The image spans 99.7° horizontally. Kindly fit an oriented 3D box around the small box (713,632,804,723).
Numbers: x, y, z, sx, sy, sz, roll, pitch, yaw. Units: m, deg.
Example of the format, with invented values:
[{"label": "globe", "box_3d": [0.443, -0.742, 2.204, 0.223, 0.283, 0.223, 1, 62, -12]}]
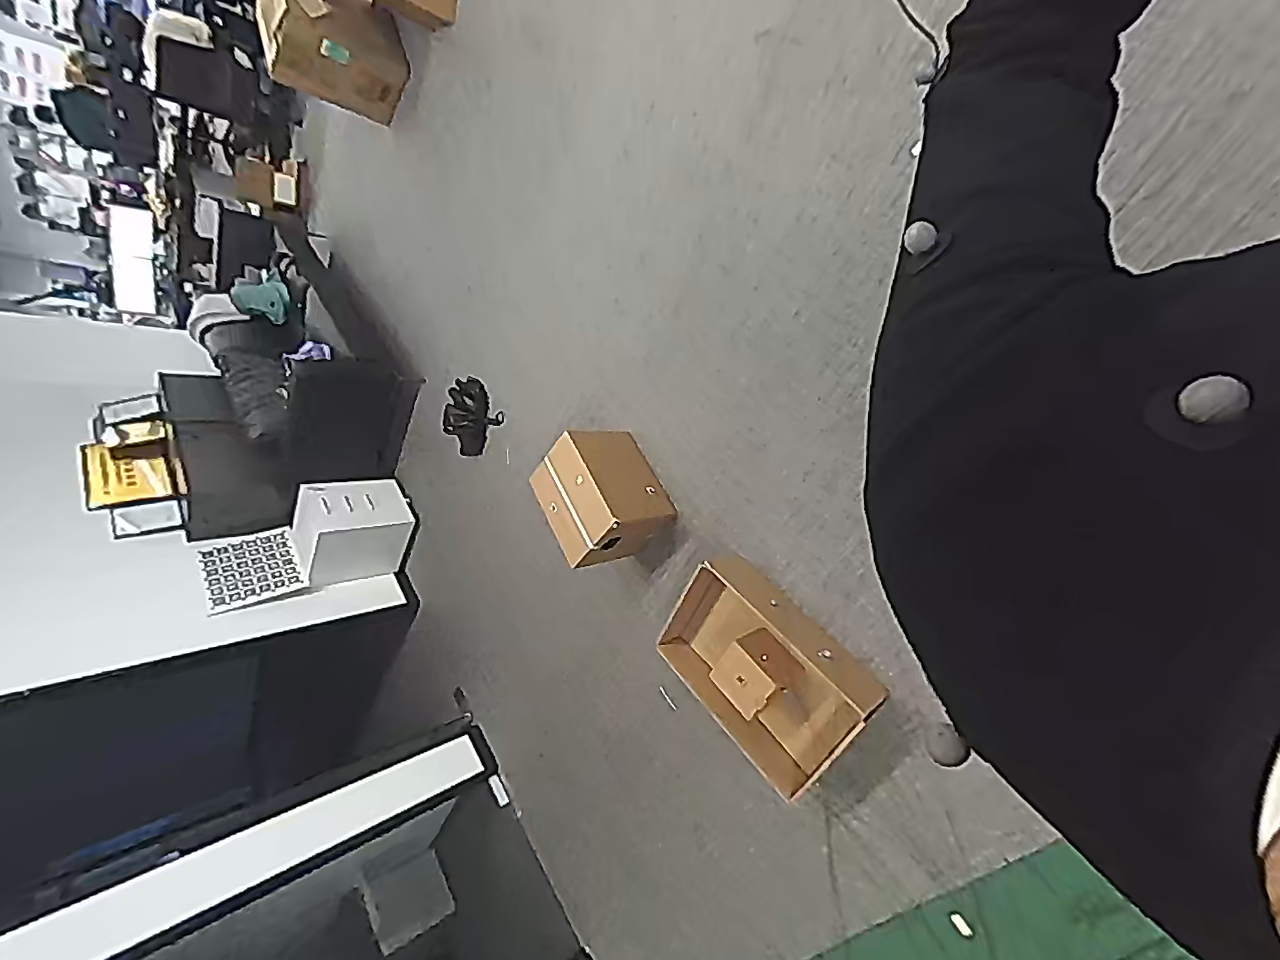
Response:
[{"label": "small box", "box_3d": [0.360, 0.587, 1.630, 0.179, 0.176, 0.168, 45, 122, 34]}]
